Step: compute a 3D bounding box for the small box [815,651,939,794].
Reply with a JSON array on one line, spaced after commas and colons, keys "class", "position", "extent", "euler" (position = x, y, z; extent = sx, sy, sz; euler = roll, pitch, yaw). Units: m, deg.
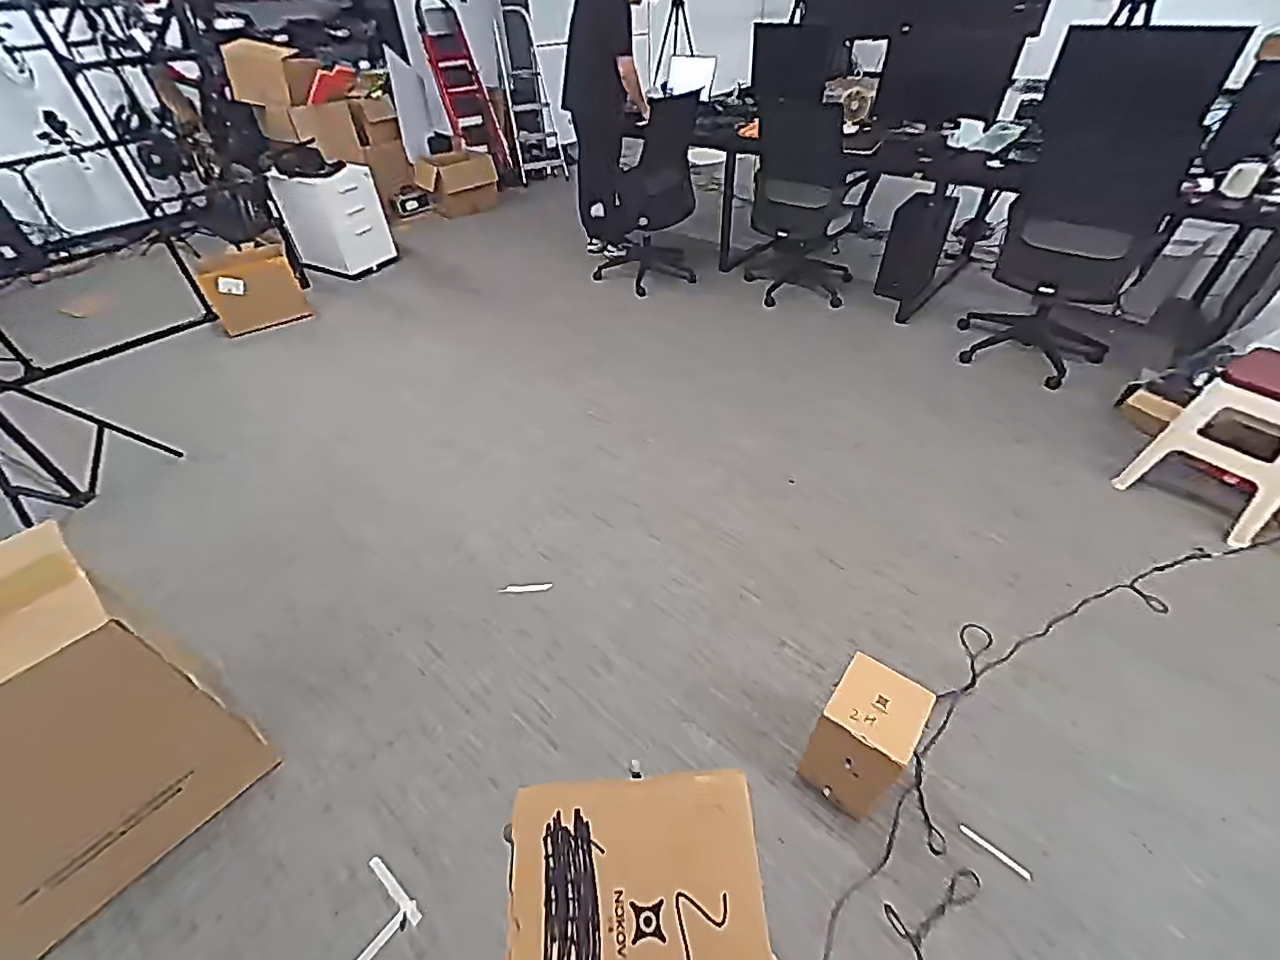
[{"class": "small box", "position": [0.480, 0.499, 1.117], "extent": [0.168, 0.176, 0.179], "euler": [27, 51, 30]}]

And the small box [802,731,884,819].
[{"class": "small box", "position": [0.486, 0.621, 1.228], "extent": [0.168, 0.176, 0.179], "euler": [29, 52, 30]}]
